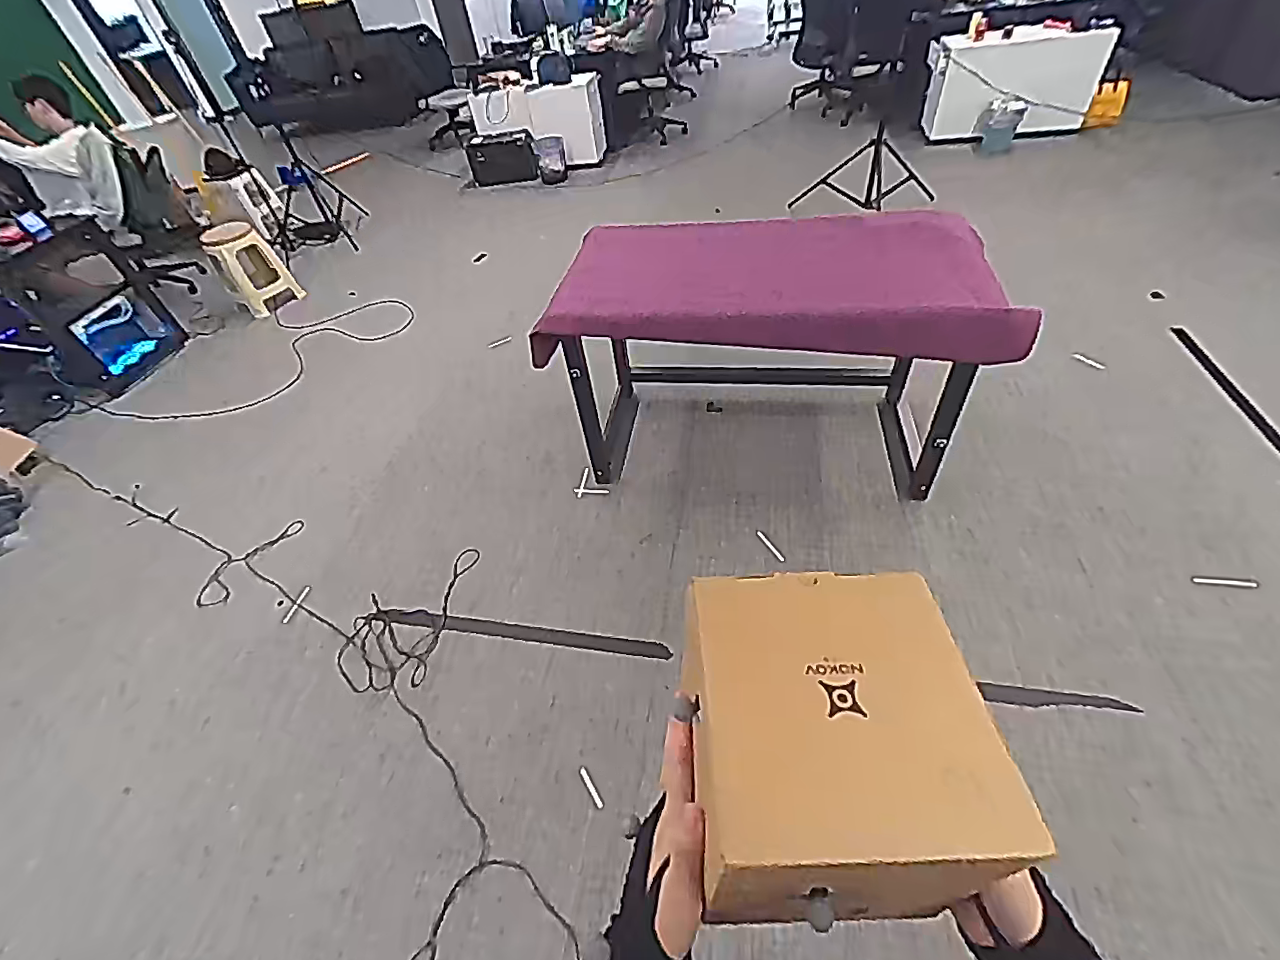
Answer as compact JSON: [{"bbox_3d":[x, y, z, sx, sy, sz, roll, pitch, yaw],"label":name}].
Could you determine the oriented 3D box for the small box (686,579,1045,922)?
[{"bbox_3d":[0.123,0.192,0.383,0.168,0.176,0.179,-1,42,-1],"label":"small box"}]
